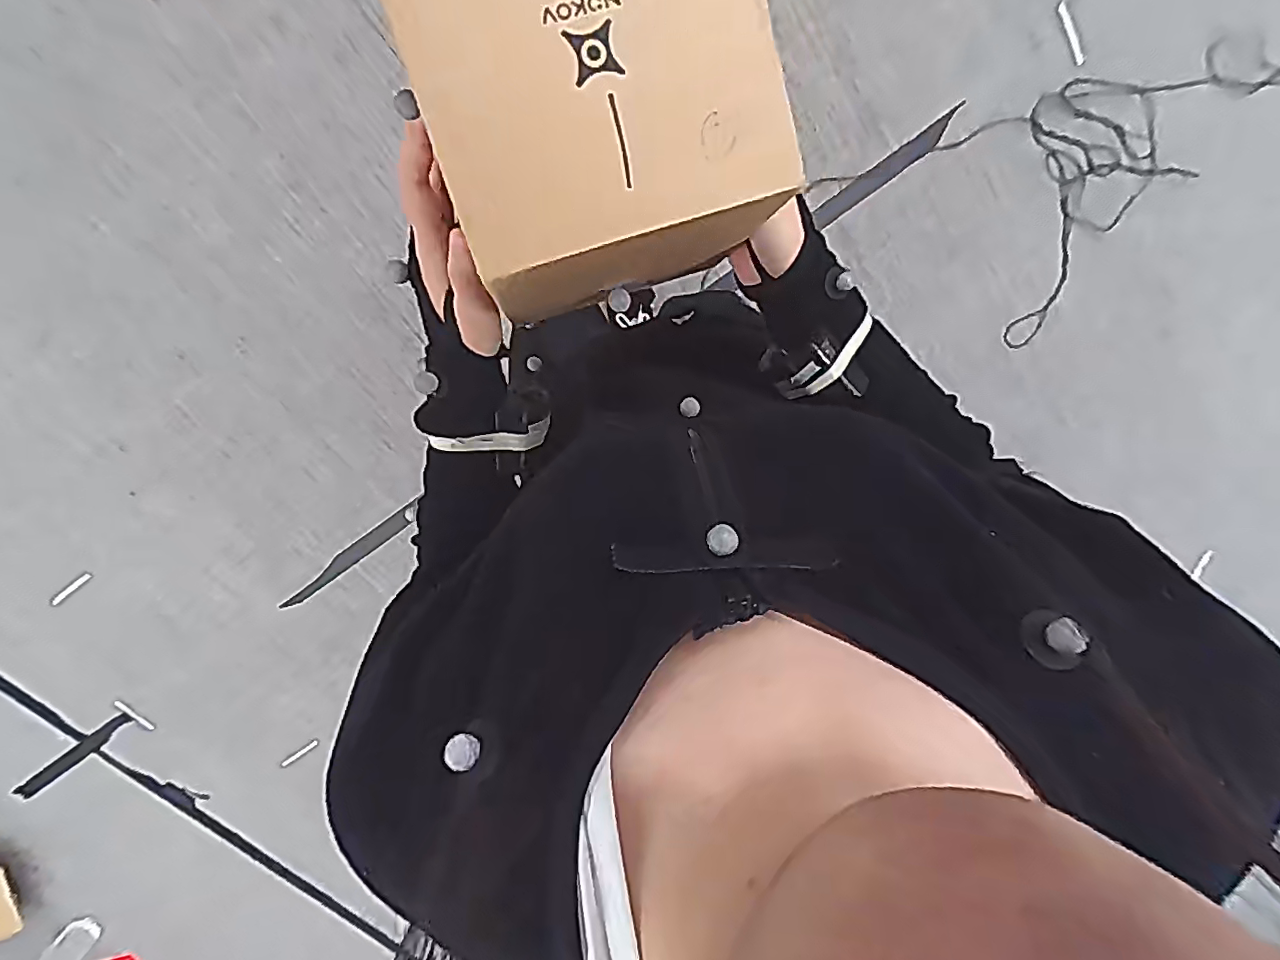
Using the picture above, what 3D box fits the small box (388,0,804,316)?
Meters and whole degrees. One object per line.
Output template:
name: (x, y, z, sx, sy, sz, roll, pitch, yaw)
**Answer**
small box: (-0.033, -0.213, 0.315, 0.168, 0.176, 0.179, -18, 101, -4)
